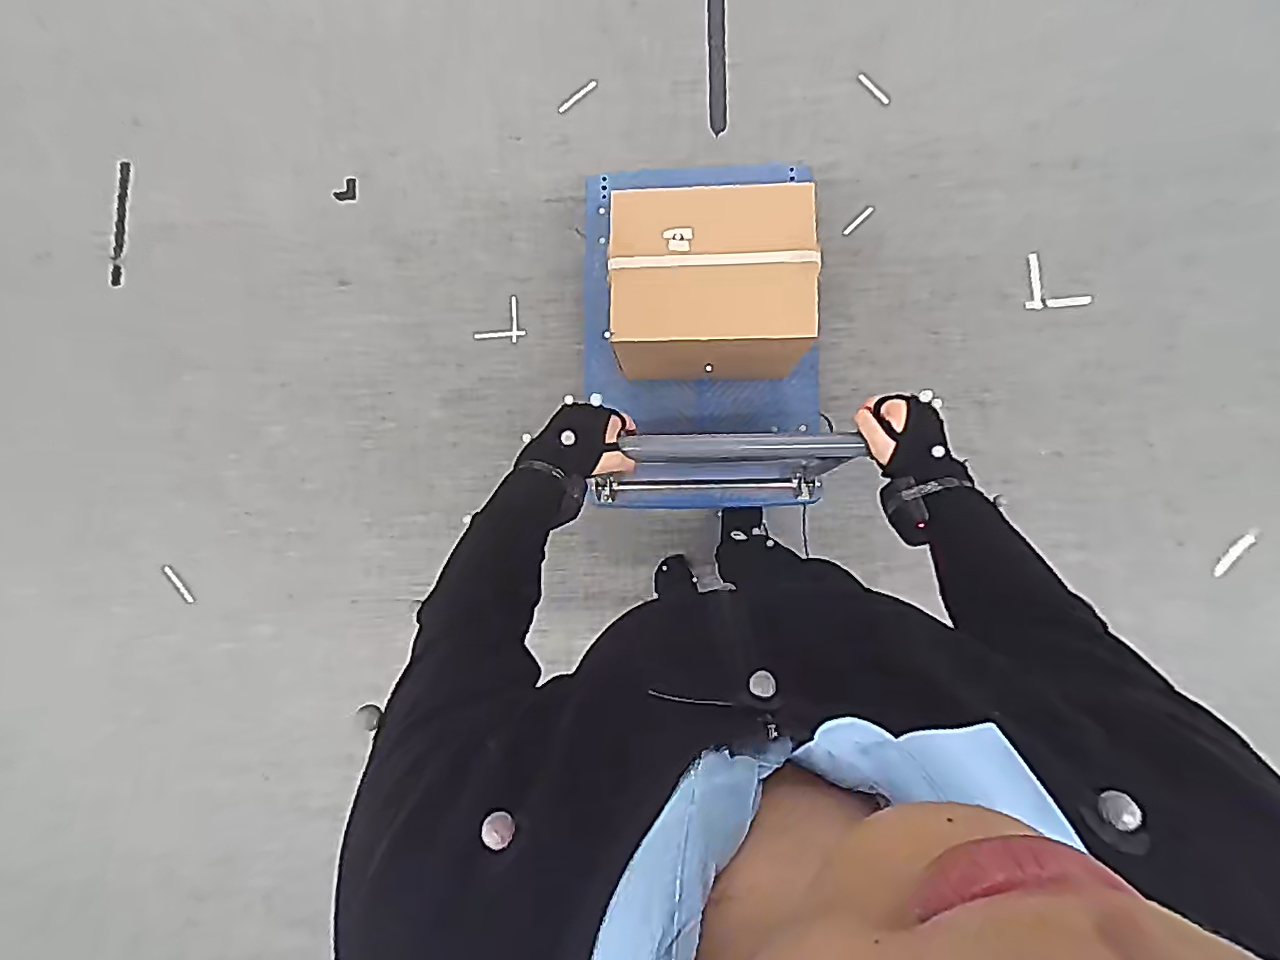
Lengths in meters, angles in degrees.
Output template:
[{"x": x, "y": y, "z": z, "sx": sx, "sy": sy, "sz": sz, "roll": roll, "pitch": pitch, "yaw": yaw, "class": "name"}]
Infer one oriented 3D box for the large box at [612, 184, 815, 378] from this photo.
[{"x": 0.157, "y": -0.424, "z": 1.230, "sx": 0.408, "sy": 0.320, "sz": 0.320, "roll": -1, "pitch": 85, "yaw": 5, "class": "large box"}]
